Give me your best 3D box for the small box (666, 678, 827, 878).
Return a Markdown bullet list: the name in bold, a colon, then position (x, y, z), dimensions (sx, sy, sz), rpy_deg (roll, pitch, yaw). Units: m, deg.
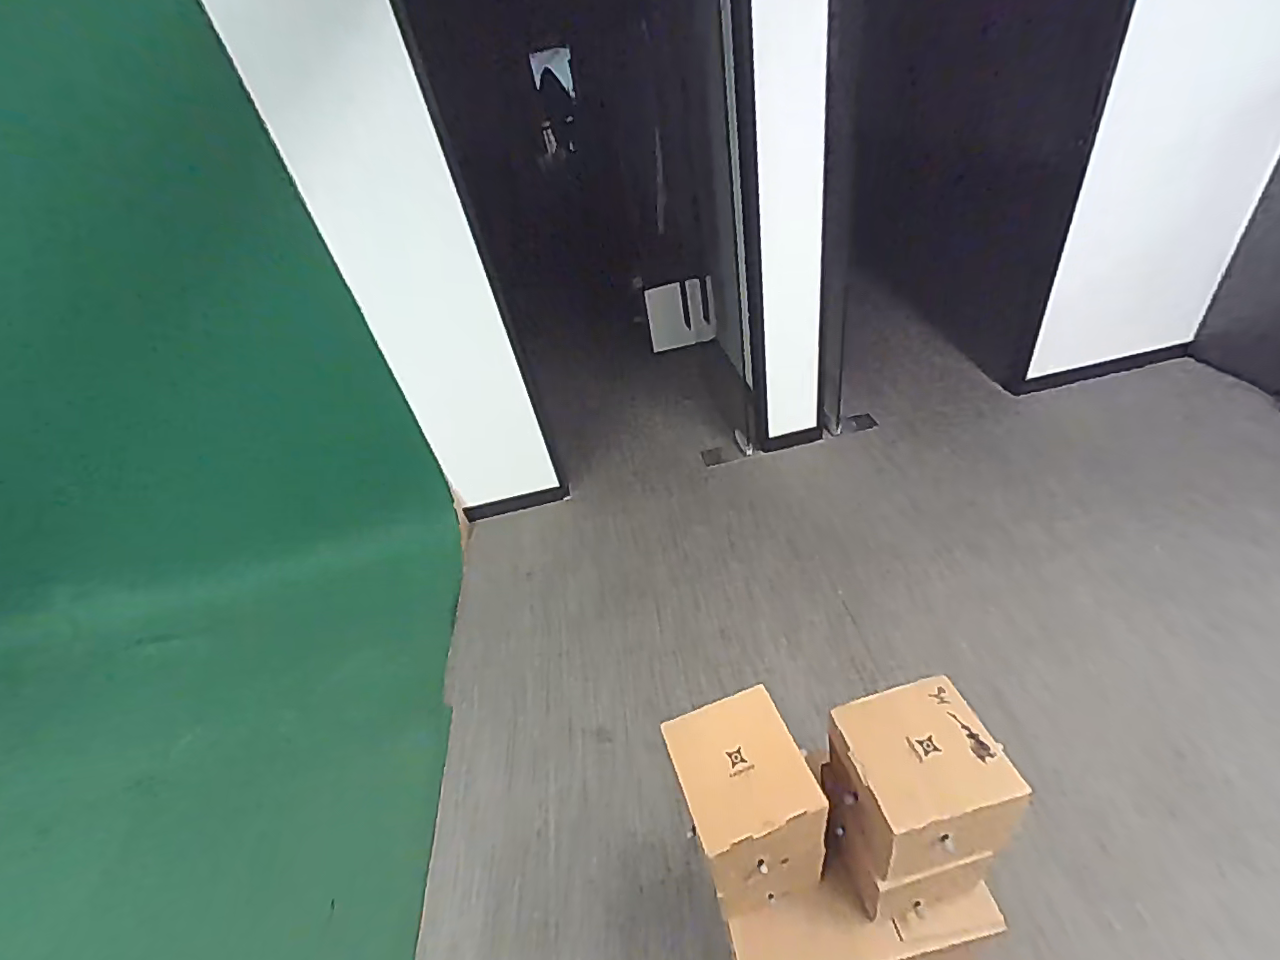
- **small box**: position (0.146, 0.428, 0.781), dimensions (0.168, 0.176, 0.179), rpy_deg (-18, 40, -8)
